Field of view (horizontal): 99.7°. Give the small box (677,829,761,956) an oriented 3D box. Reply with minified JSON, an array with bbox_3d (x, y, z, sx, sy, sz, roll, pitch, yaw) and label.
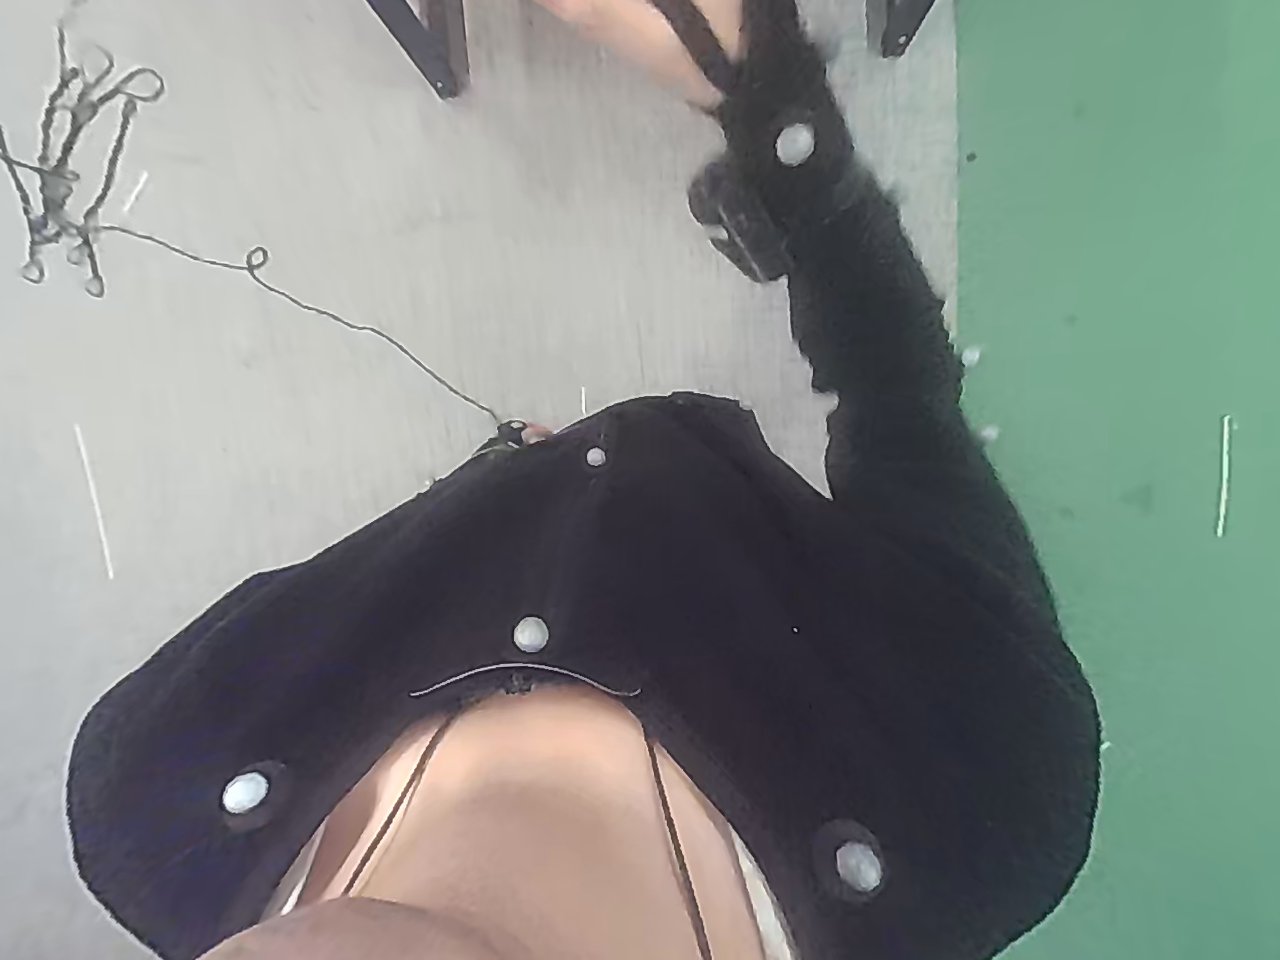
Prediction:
[{"bbox_3d":[0.194,1.027,1.355,0.168,0.176,0.179,-16,95,5],"label":"small box"}]

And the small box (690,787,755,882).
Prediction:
[{"bbox_3d":[0.226,0.996,1.514,0.168,0.176,0.179,1,97,5],"label":"small box"}]
